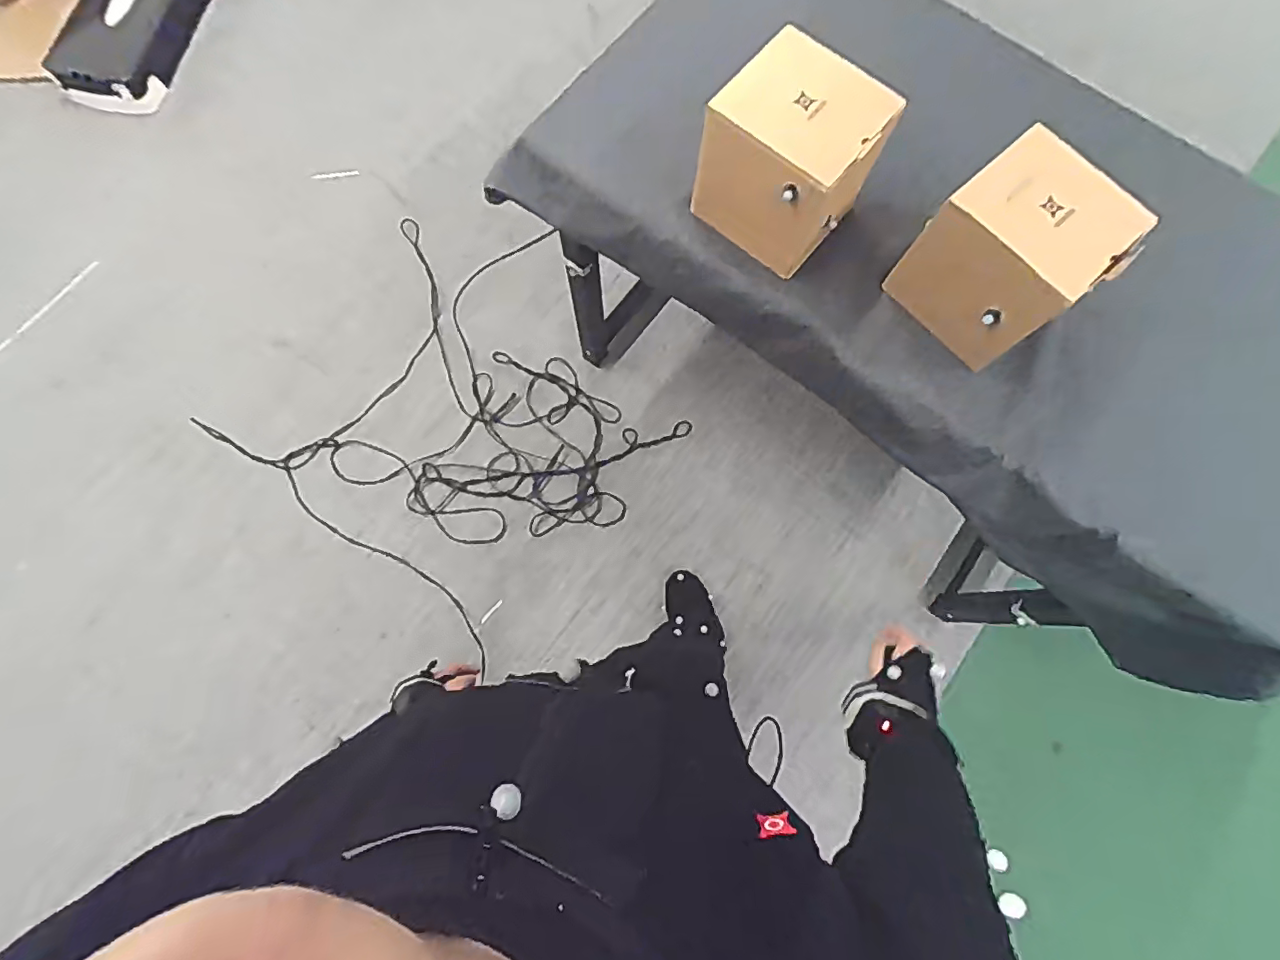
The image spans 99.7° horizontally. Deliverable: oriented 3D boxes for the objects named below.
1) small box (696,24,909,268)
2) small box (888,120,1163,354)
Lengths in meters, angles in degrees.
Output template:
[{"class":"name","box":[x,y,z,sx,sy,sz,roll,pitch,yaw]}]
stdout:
[{"class":"small box","box":[0.191,-0.414,0.695,0.179,0.176,0.168,39,77,7]},{"class":"small box","box":[0.455,-0.281,0.668,0.168,0.176,0.179,-41,79,-11]}]
